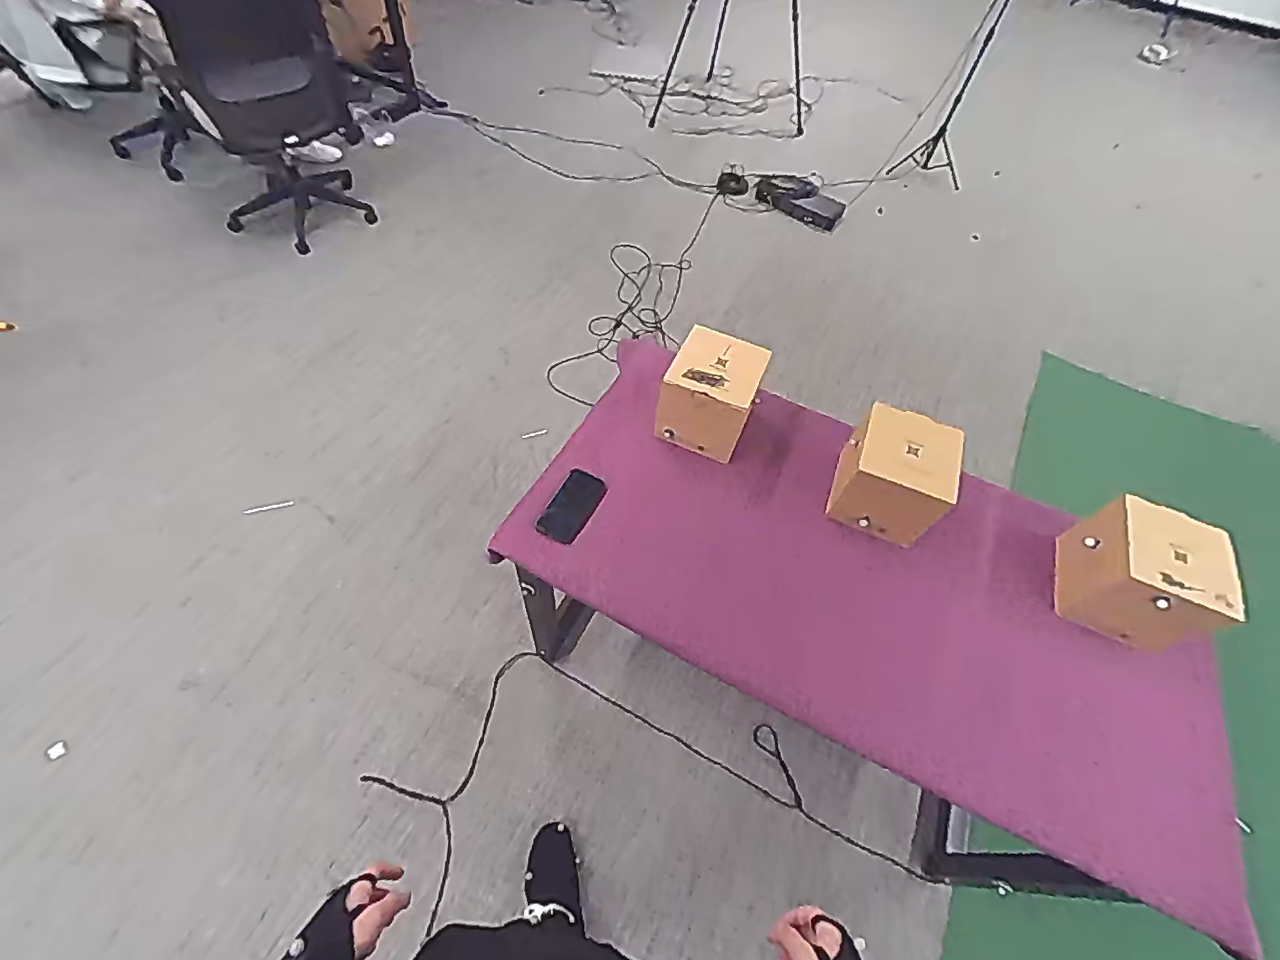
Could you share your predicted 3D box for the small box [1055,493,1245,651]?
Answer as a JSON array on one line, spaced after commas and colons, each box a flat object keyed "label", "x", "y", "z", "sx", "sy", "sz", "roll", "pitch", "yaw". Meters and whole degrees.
[{"label": "small box", "x": 0.853, "y": 0.160, "z": 0.927, "sx": 0.168, "sy": 0.176, "sz": 0.179, "roll": 23, "pitch": 56, "yaw": 11}]

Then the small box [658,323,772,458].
[{"label": "small box", "x": 0.143, "y": -0.174, "z": 1.080, "sx": 0.168, "sy": 0.176, "sz": 0.179, "roll": 23, "pitch": 56, "yaw": 9}]

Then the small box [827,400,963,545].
[{"label": "small box", "x": 0.467, "y": -0.011, "z": 1.006, "sx": 0.168, "sy": 0.176, "sz": 0.179, "roll": 22, "pitch": 57, "yaw": 10}]
